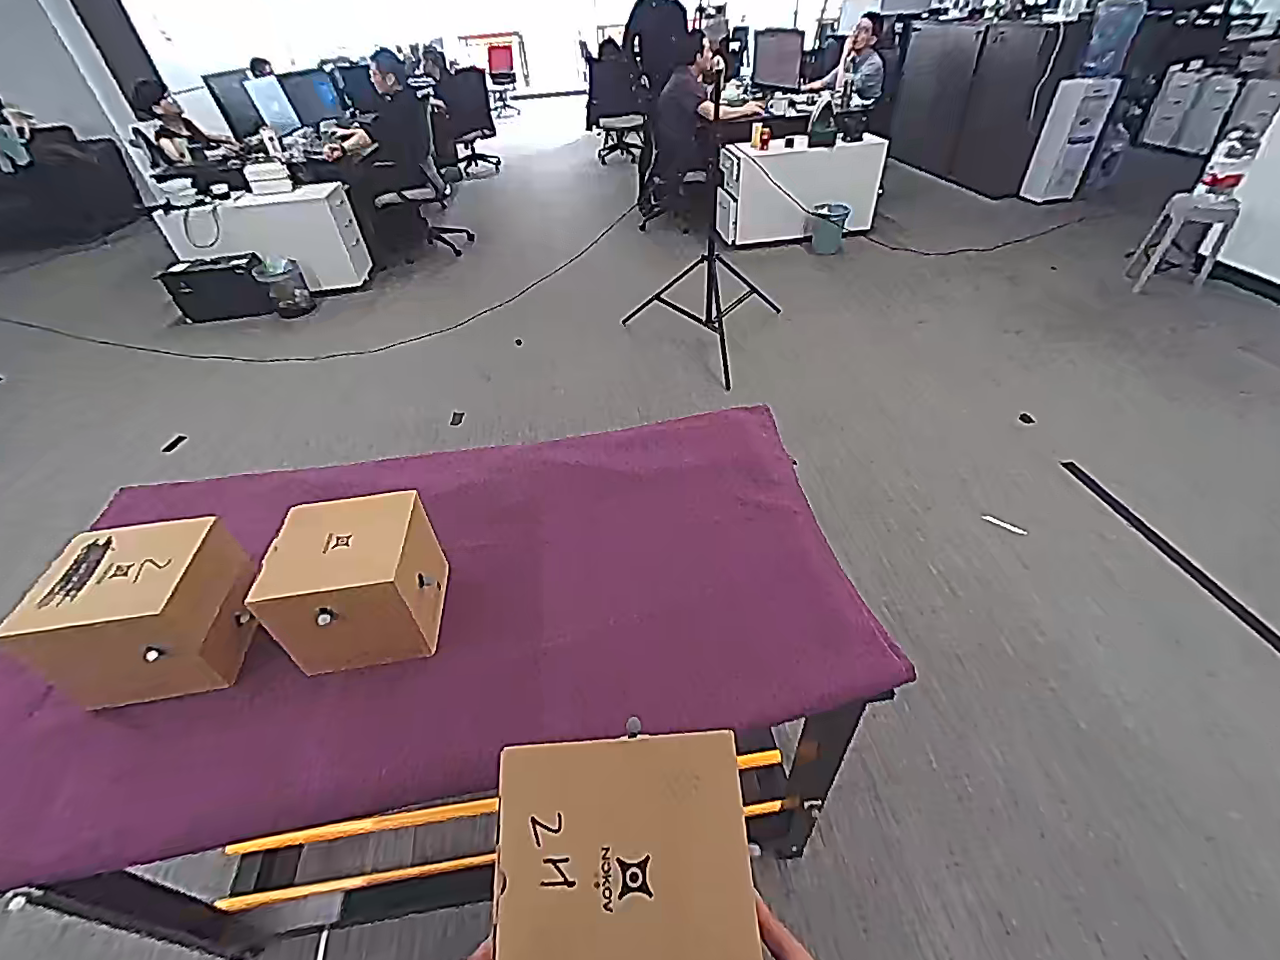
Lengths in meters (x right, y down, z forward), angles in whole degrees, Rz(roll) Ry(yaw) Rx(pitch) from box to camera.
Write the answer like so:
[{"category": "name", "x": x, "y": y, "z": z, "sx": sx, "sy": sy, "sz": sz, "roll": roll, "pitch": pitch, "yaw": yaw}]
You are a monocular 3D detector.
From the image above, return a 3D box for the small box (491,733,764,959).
[{"category": "small box", "x": -0.007, "y": 0.298, "z": 0.433, "sx": 0.179, "sy": 0.176, "sz": 0.168, "roll": -6, "pitch": 64, "yaw": 2}]

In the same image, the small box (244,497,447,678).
[{"category": "small box", "x": -0.381, "y": 0.148, "z": 0.744, "sx": 0.179, "sy": 0.176, "sz": 0.168, "roll": -9, "pitch": 41, "yaw": -4}]
